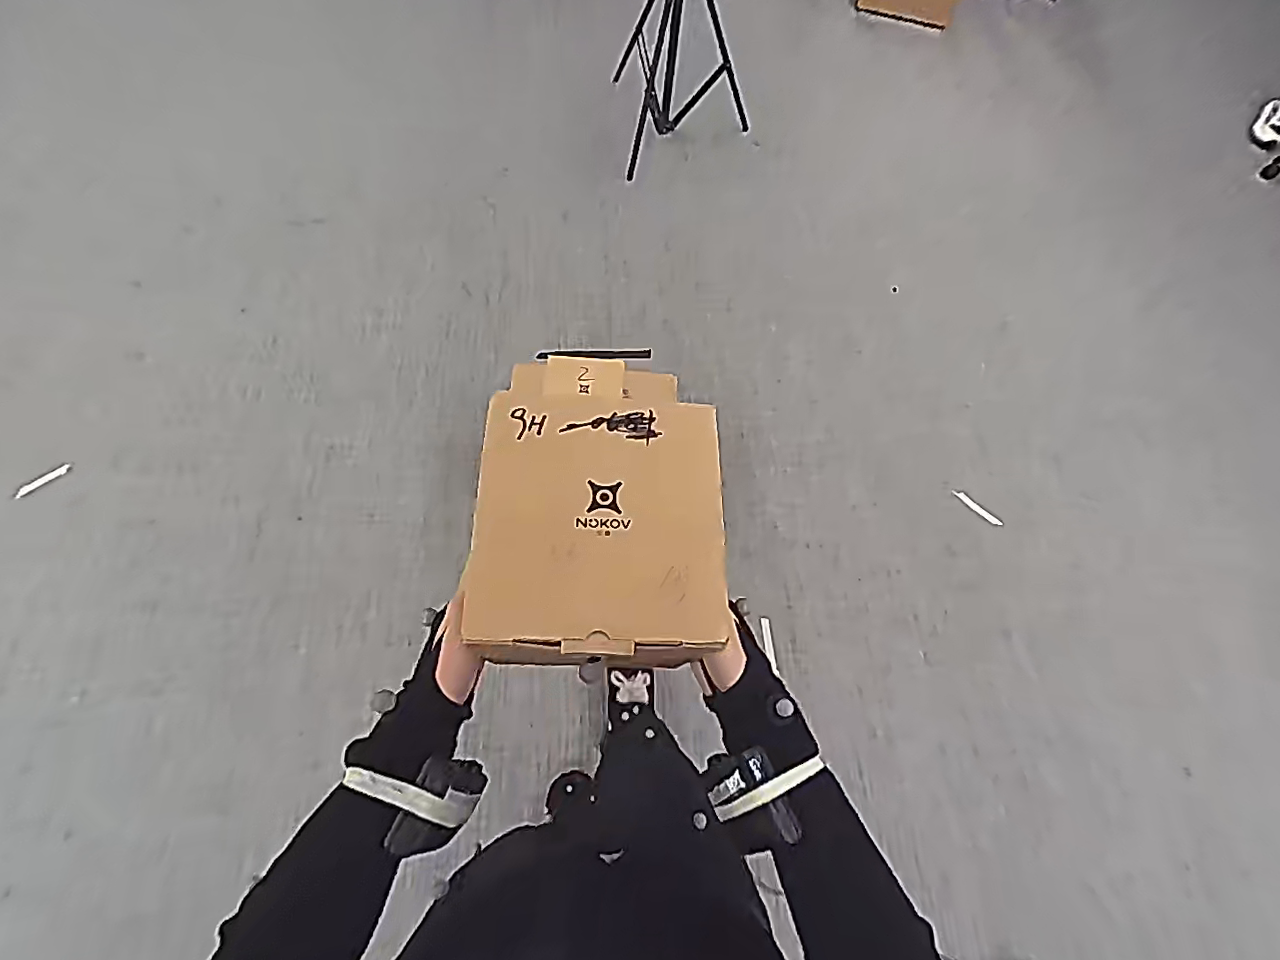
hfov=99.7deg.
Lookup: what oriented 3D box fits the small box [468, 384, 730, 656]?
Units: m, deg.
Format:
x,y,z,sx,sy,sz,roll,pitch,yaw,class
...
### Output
x,y,z,sx,sy,sz,roll,pitch,yaw,class
-0.032,0.046,0.435,0.168,0.176,0.179,4,68,-8,small box
